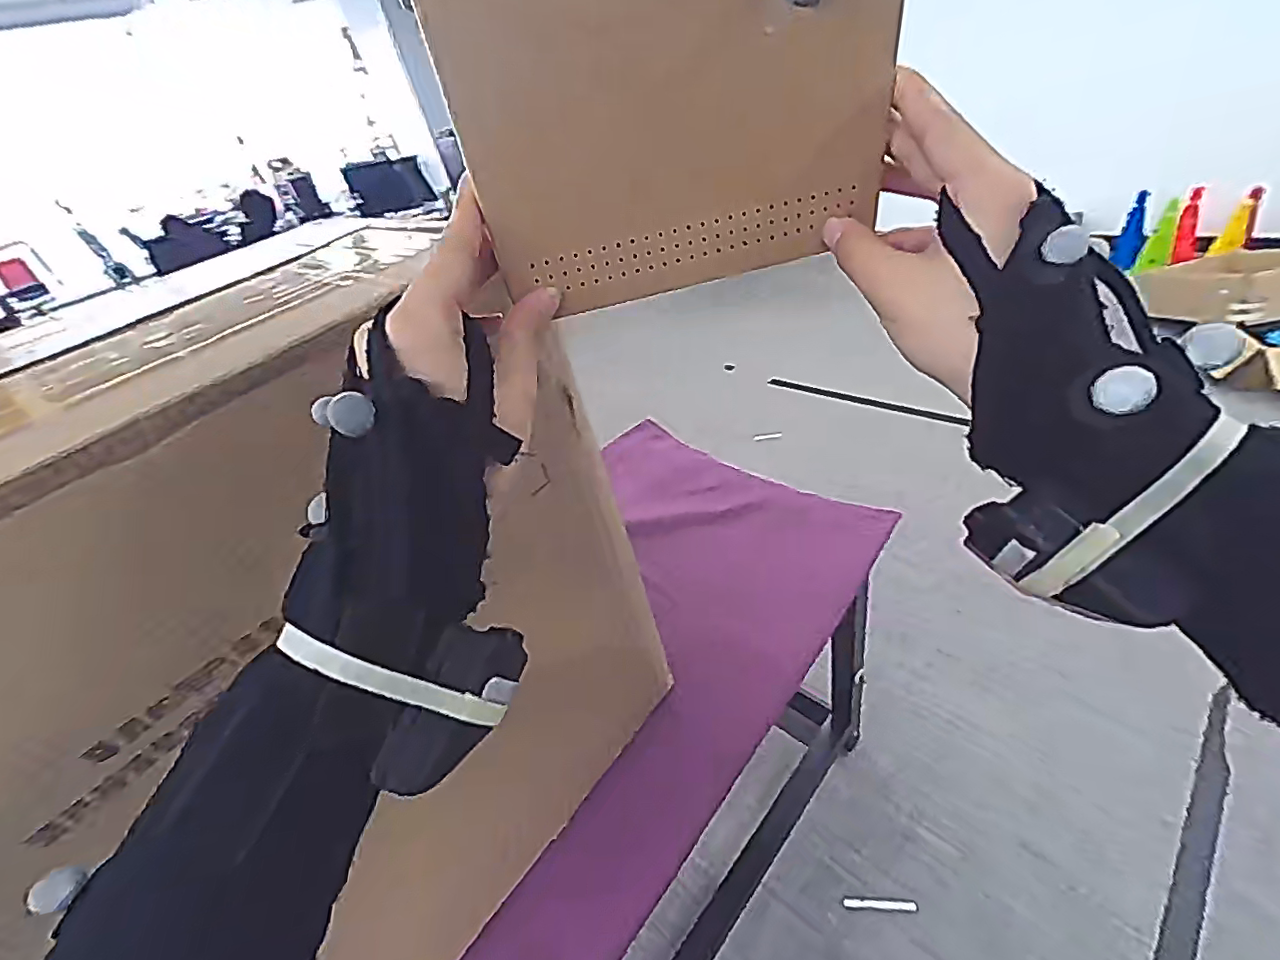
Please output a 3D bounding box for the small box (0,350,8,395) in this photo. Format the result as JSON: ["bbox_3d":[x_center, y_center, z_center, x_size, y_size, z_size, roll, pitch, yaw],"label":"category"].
[{"bbox_3d":[-0.540,-0.098,0.314,0.179,0.176,0.168,21,50,37],"label":"small box"}]
